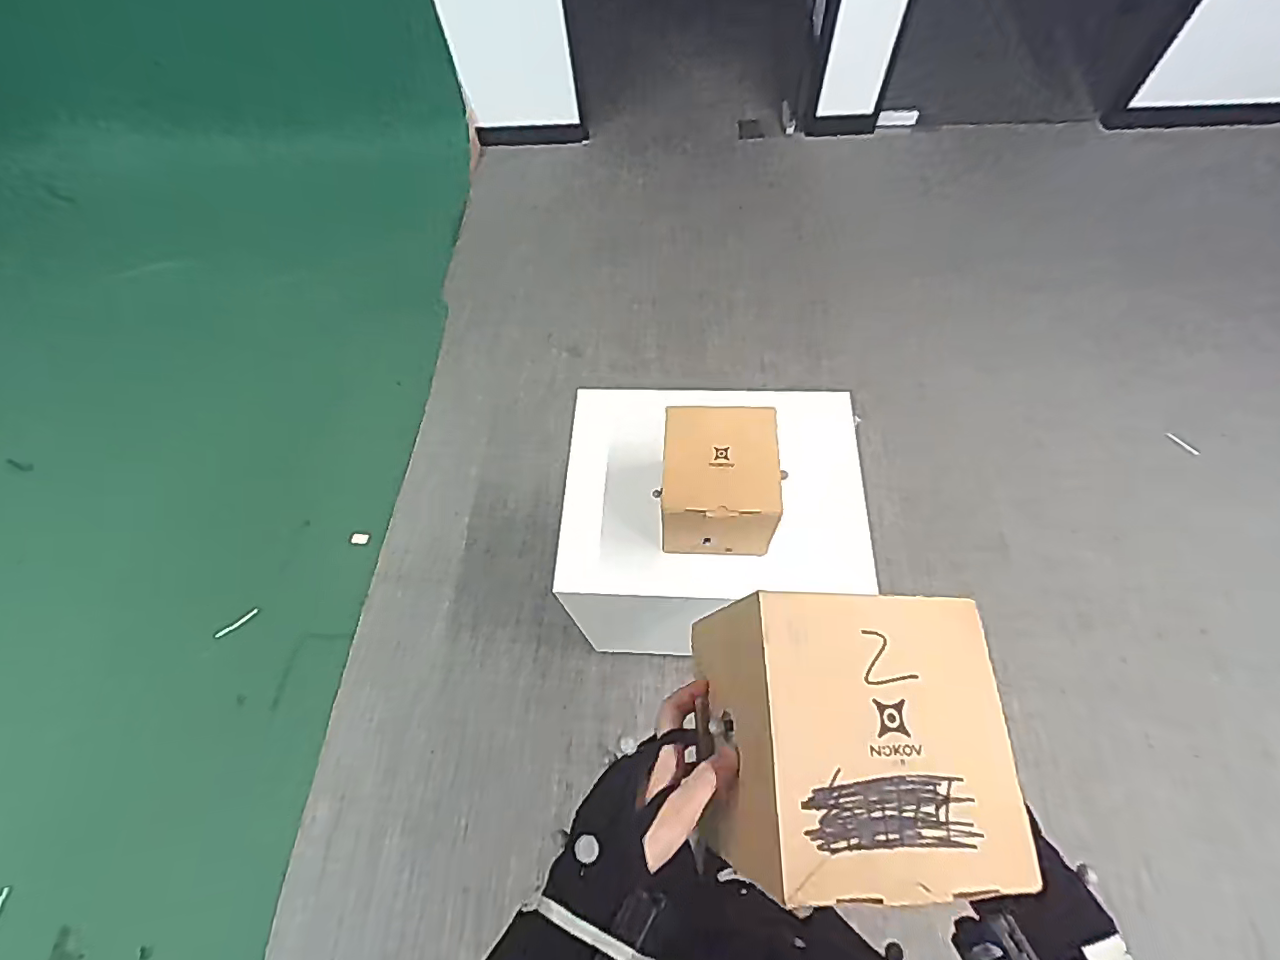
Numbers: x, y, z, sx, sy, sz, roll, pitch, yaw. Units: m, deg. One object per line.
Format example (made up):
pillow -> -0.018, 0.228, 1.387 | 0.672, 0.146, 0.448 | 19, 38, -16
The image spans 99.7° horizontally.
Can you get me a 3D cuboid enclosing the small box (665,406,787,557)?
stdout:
small box -> 0.123, 0.005, 0.832 | 0.168, 0.176, 0.179 | 1, 62, 4
